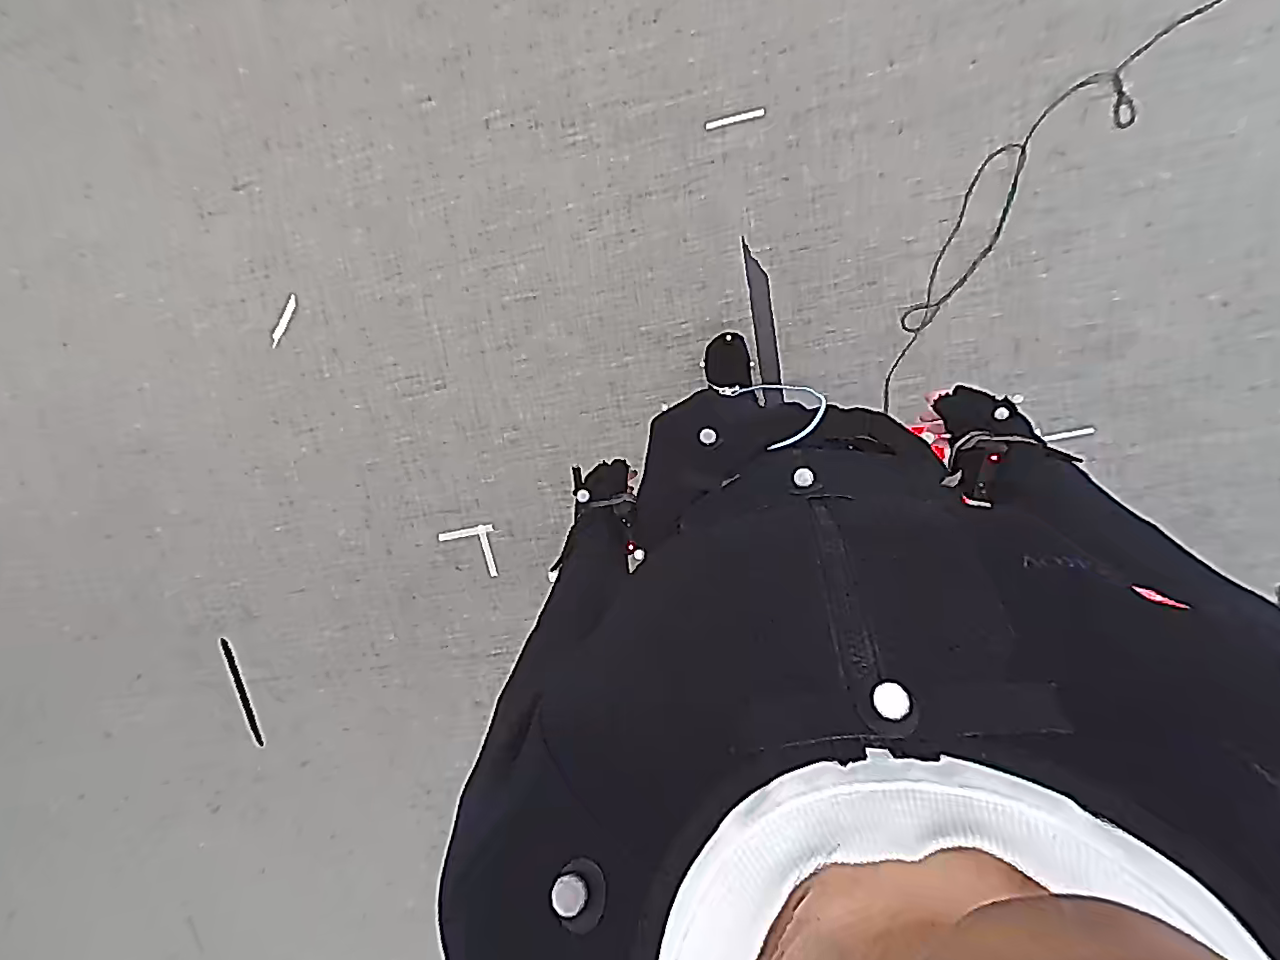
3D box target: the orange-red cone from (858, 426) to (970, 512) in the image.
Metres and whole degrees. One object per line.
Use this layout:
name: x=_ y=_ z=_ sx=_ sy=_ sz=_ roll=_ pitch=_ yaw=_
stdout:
orange-red cone: x=0.625 y=0.004 z=1.181 sx=0.199 sy=0.360 sz=0.198 roll=-4 pitch=102 yaw=8
